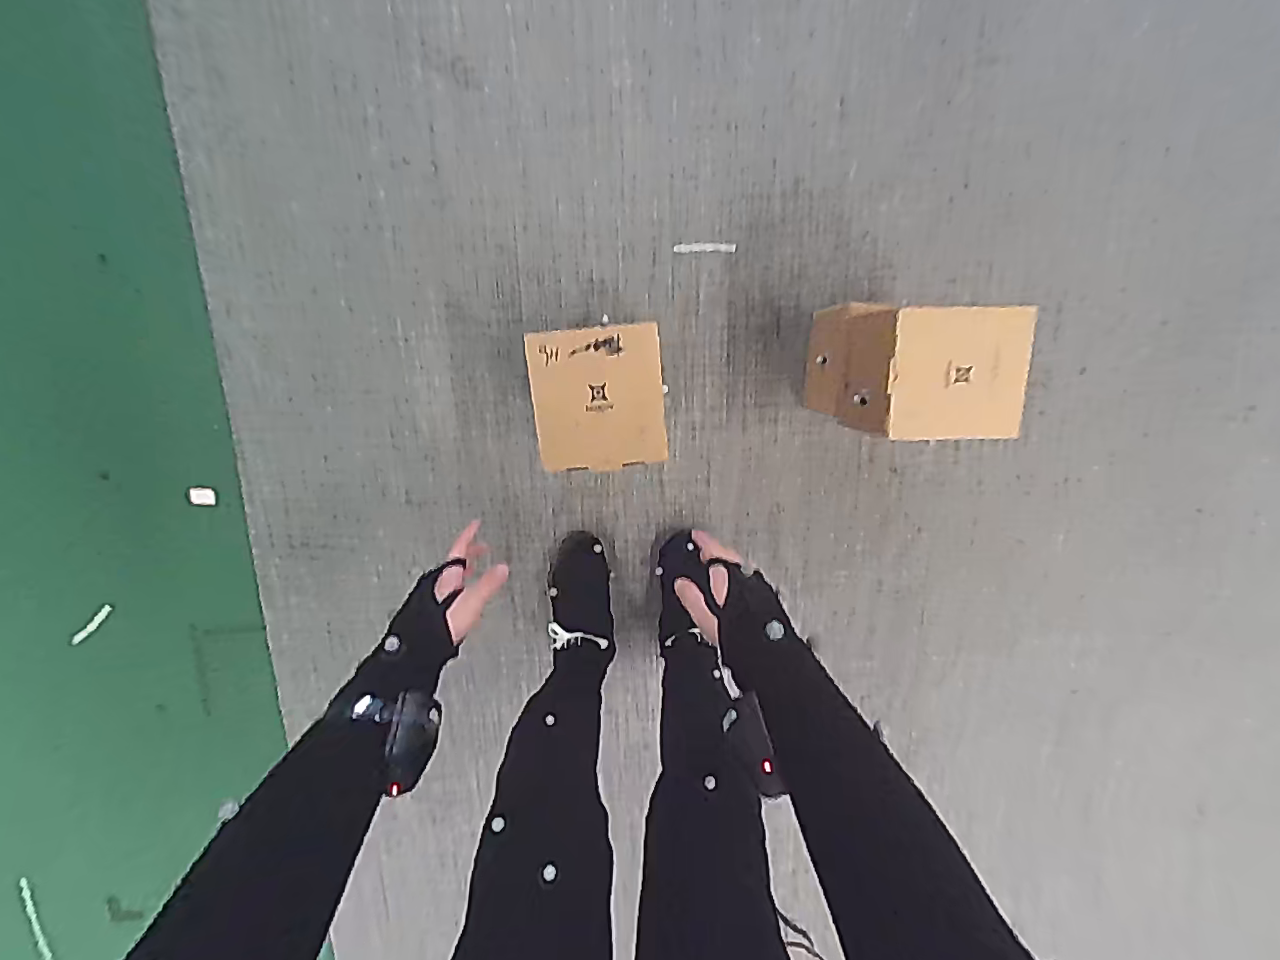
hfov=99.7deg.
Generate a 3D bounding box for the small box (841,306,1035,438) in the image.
[{"bbox_3d":[0.401,-0.151,0.761,0.179,0.176,0.168,-1,103,-2],"label":"small box"}]

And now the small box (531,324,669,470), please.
[{"bbox_3d":[-0.049,-0.121,0.759,0.168,0.176,0.179,-5,103,-1],"label":"small box"}]
